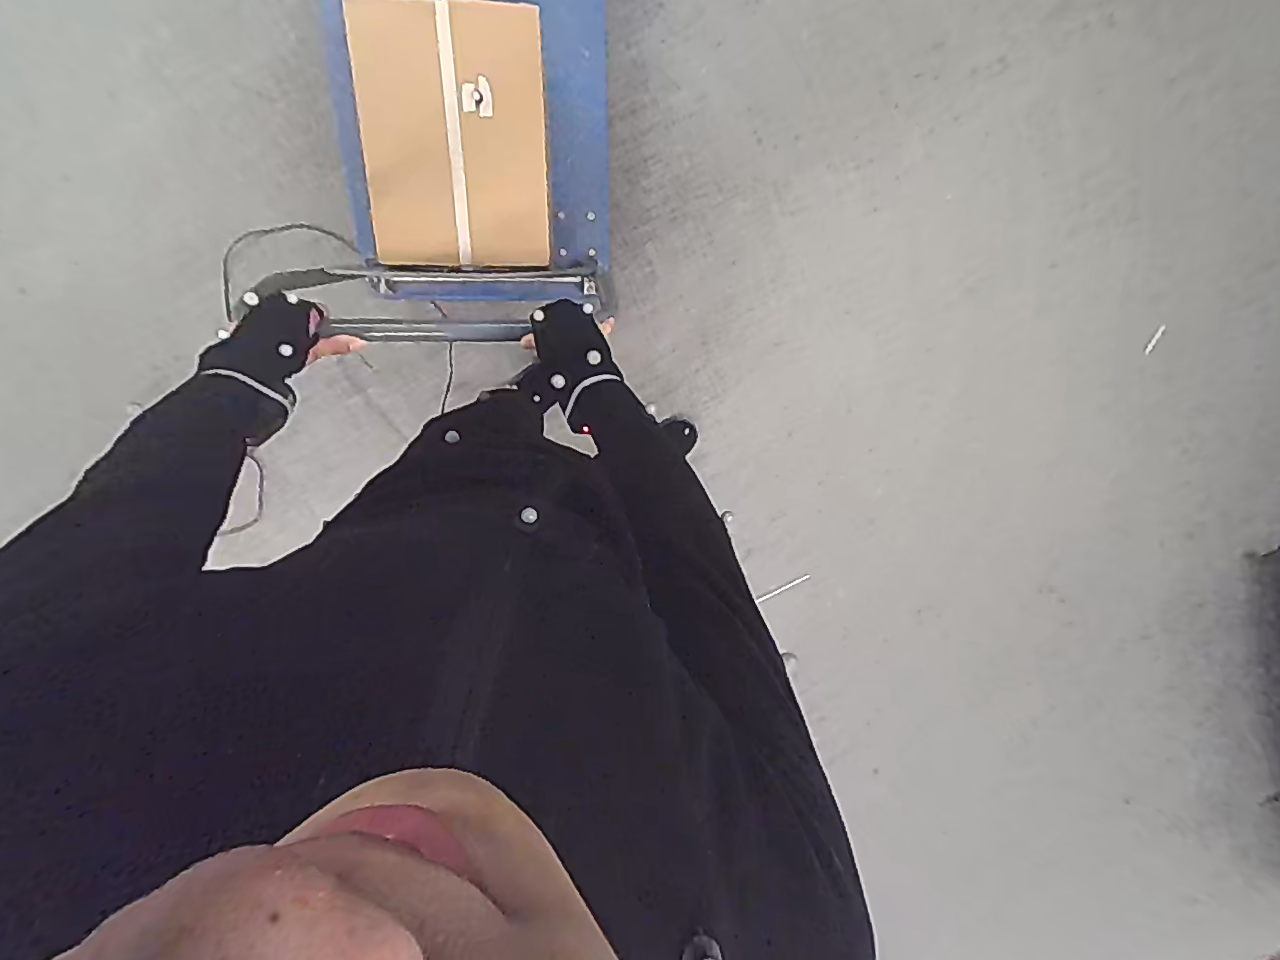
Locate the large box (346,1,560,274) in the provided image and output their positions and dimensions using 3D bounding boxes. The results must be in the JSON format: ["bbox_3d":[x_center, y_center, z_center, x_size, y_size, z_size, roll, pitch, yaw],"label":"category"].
[{"bbox_3d":[-0.332,-0.633,1.083,0.320,0.320,0.408,-2,109,-6],"label":"large box"}]
